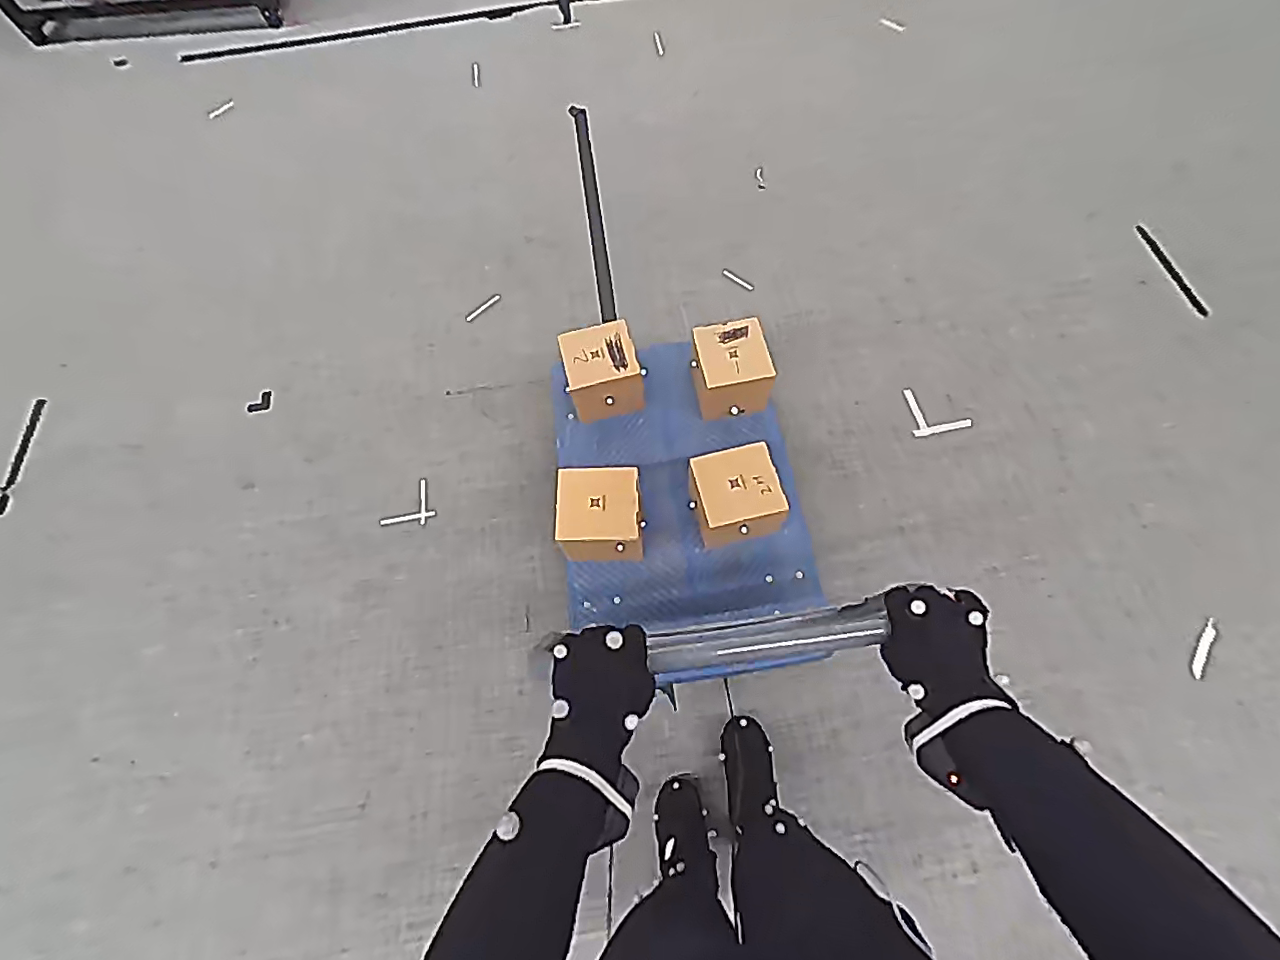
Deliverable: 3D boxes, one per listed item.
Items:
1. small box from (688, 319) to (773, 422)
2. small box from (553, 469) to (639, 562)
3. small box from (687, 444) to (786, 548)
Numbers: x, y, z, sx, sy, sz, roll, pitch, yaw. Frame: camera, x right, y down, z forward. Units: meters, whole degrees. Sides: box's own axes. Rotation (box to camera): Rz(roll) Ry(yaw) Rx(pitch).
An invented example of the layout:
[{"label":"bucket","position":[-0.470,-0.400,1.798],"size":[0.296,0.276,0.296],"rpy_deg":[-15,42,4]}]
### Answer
[{"label":"small box","position":[0.217,-0.270,1.354],"size":[0.168,0.176,0.179],"rpy_deg":[-11,68,-1]},{"label":"small box","position":[-0.093,0.086,1.220],"size":[0.179,0.176,0.168],"rpy_deg":[-2,66,1]},{"label":"small box","position":[0.208,0.042,1.222],"size":[0.179,0.176,0.168],"rpy_deg":[-13,67,-3]}]
